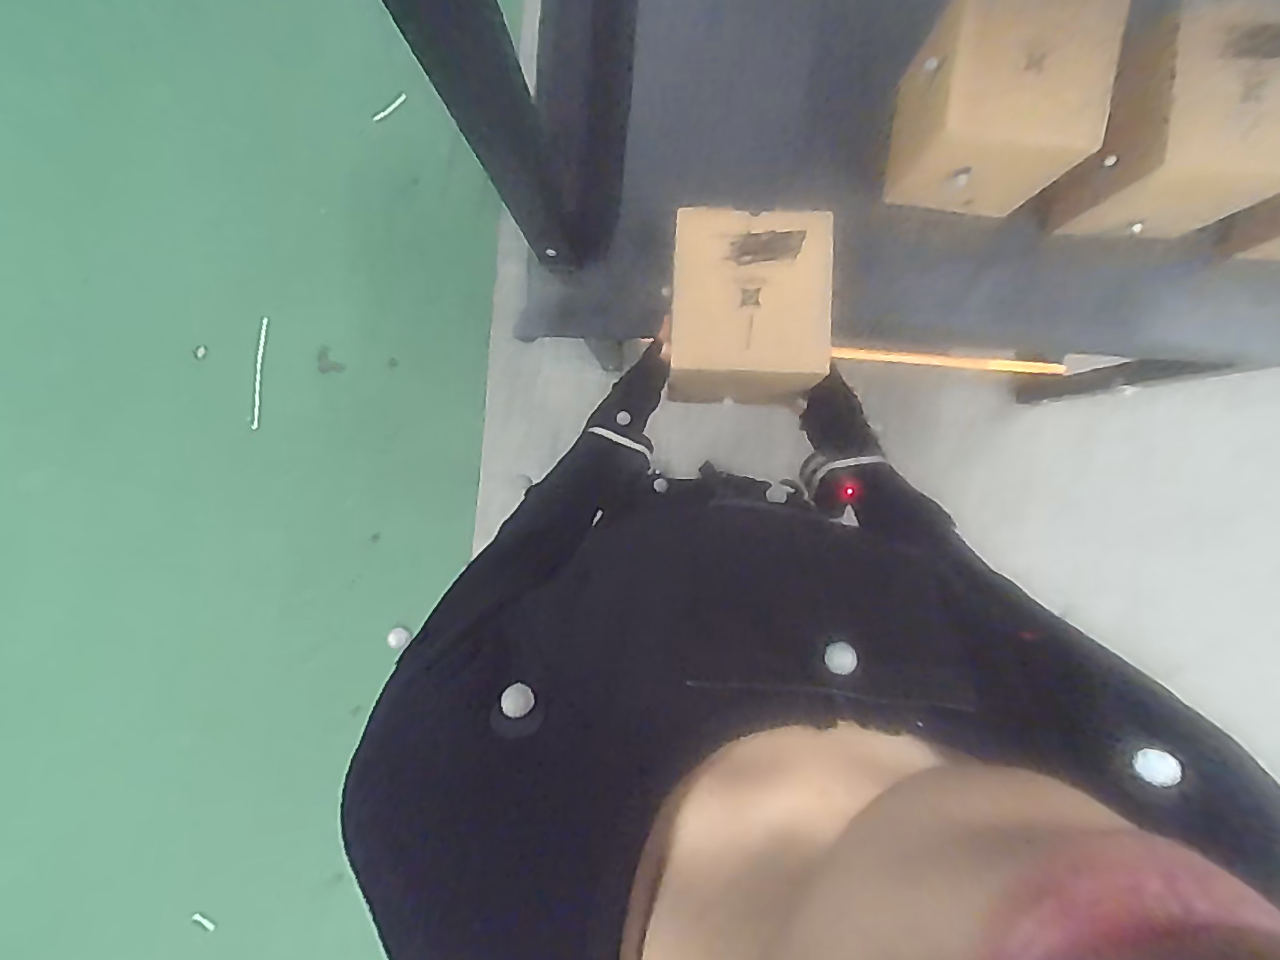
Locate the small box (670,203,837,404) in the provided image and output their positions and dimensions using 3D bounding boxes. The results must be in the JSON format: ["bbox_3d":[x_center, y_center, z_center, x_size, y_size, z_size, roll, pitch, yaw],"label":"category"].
[{"bbox_3d":[0.123,-0.197,0.644,0.168,0.176,0.179,2,87,2],"label":"small box"}]

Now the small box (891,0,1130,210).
[{"bbox_3d":[0.424,-0.453,0.650,0.168,0.176,0.179,9,92,2],"label":"small box"}]

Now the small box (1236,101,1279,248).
[{"bbox_3d":[0.865,-0.381,0.628,0.168,0.176,0.179,3,91,2],"label":"small box"}]
